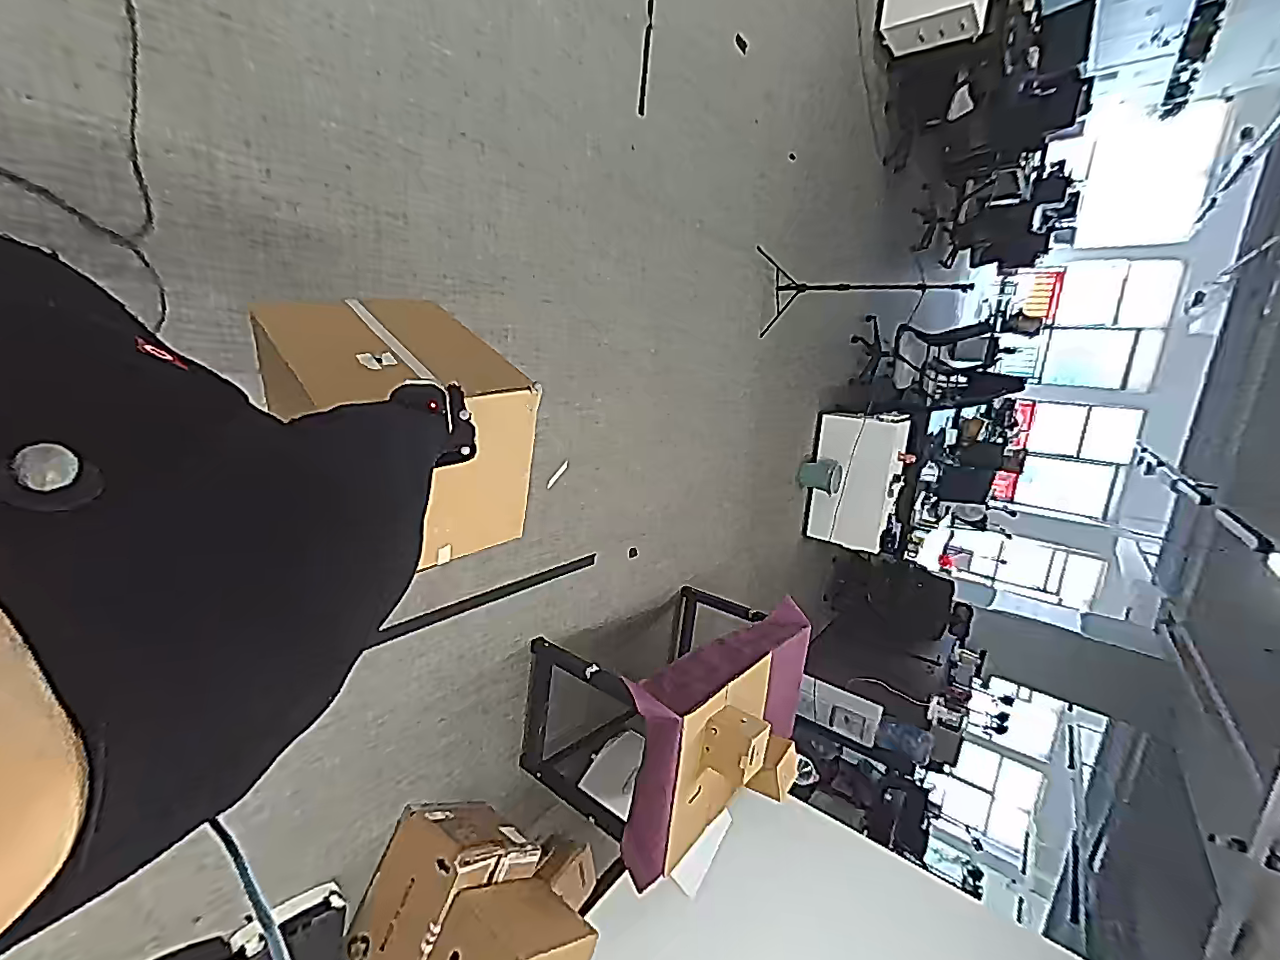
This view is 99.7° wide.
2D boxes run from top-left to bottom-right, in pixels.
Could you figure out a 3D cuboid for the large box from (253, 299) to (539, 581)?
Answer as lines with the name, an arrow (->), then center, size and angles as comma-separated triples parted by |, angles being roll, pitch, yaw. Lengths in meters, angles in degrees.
large box -> -0.437, -0.097, 0.963 | 0.320, 0.408, 0.320 | -17, 136, -40
